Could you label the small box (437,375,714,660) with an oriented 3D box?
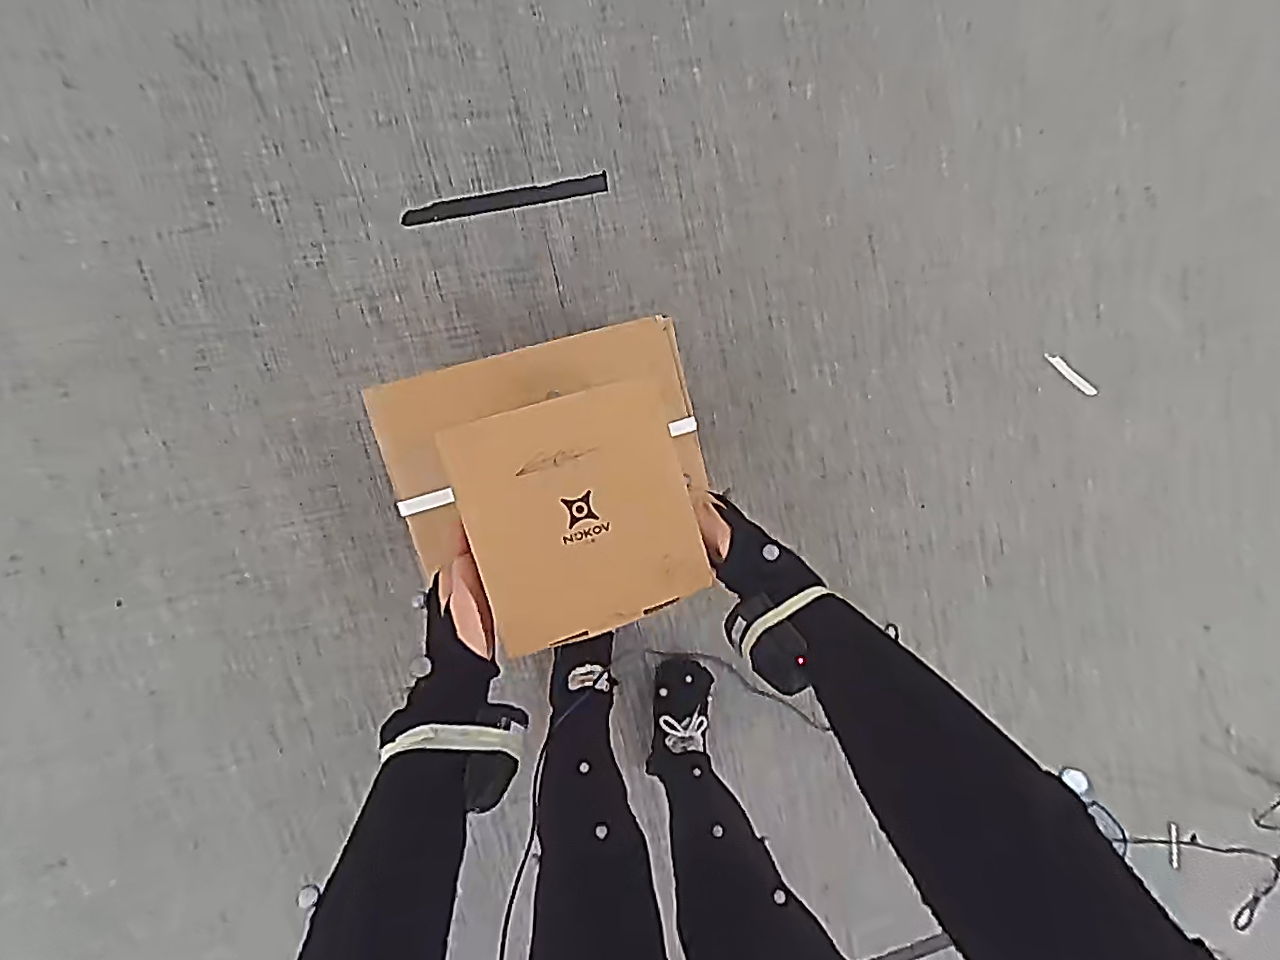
[{"bbox_3d":[-0.056,0.023,0.476,0.168,0.176,0.179,-19,95,-10],"label":"small box"}]
